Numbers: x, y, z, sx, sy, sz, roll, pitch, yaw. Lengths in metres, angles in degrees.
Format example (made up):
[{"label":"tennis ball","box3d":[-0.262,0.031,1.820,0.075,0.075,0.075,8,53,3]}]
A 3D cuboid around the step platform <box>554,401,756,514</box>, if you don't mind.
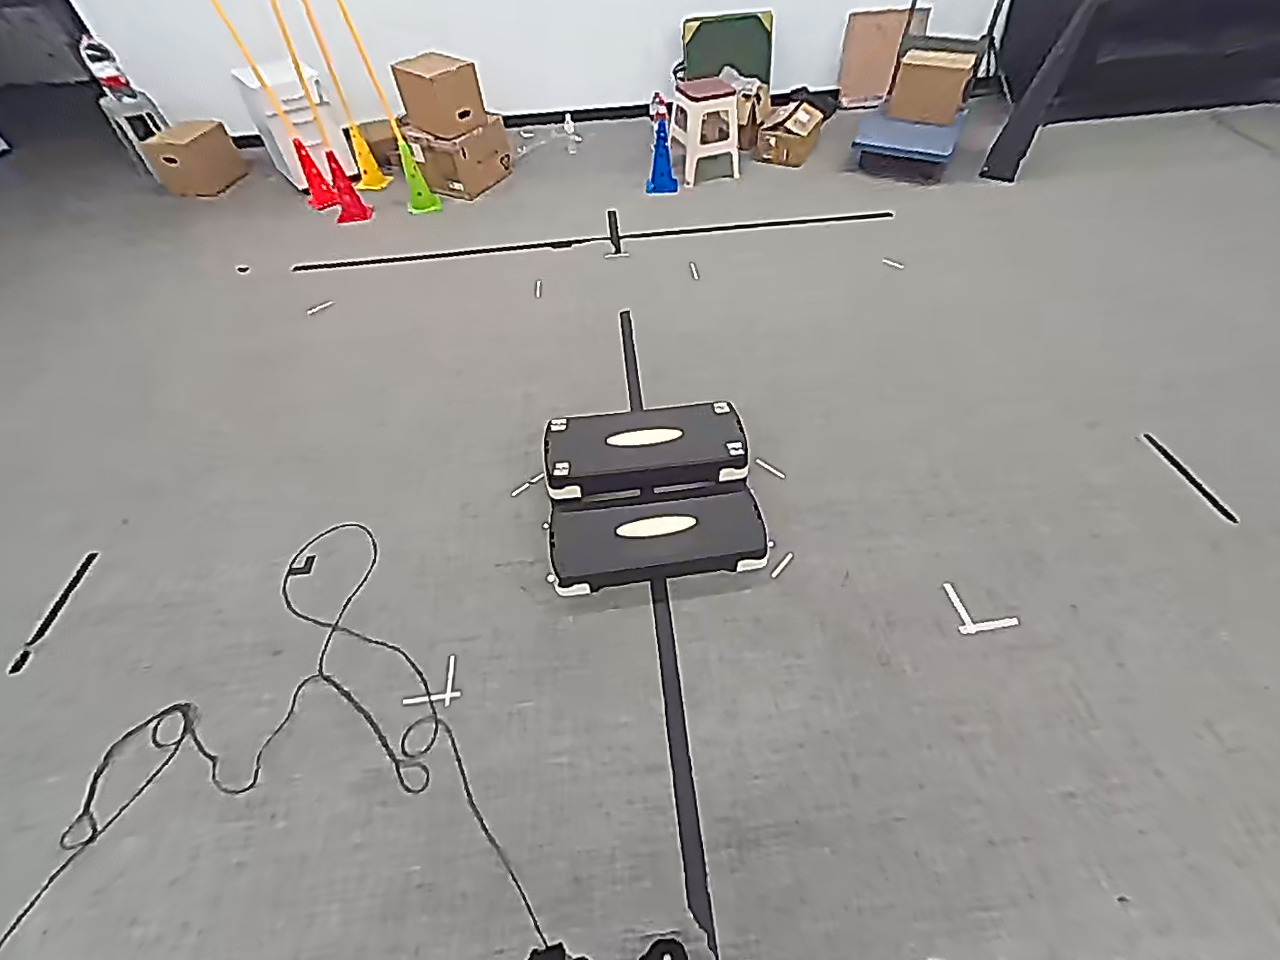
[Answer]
[{"label":"step platform","box3d":[0.048,-0.085,1.862,0.684,0.204,0.286,-7,51,-4]}]
